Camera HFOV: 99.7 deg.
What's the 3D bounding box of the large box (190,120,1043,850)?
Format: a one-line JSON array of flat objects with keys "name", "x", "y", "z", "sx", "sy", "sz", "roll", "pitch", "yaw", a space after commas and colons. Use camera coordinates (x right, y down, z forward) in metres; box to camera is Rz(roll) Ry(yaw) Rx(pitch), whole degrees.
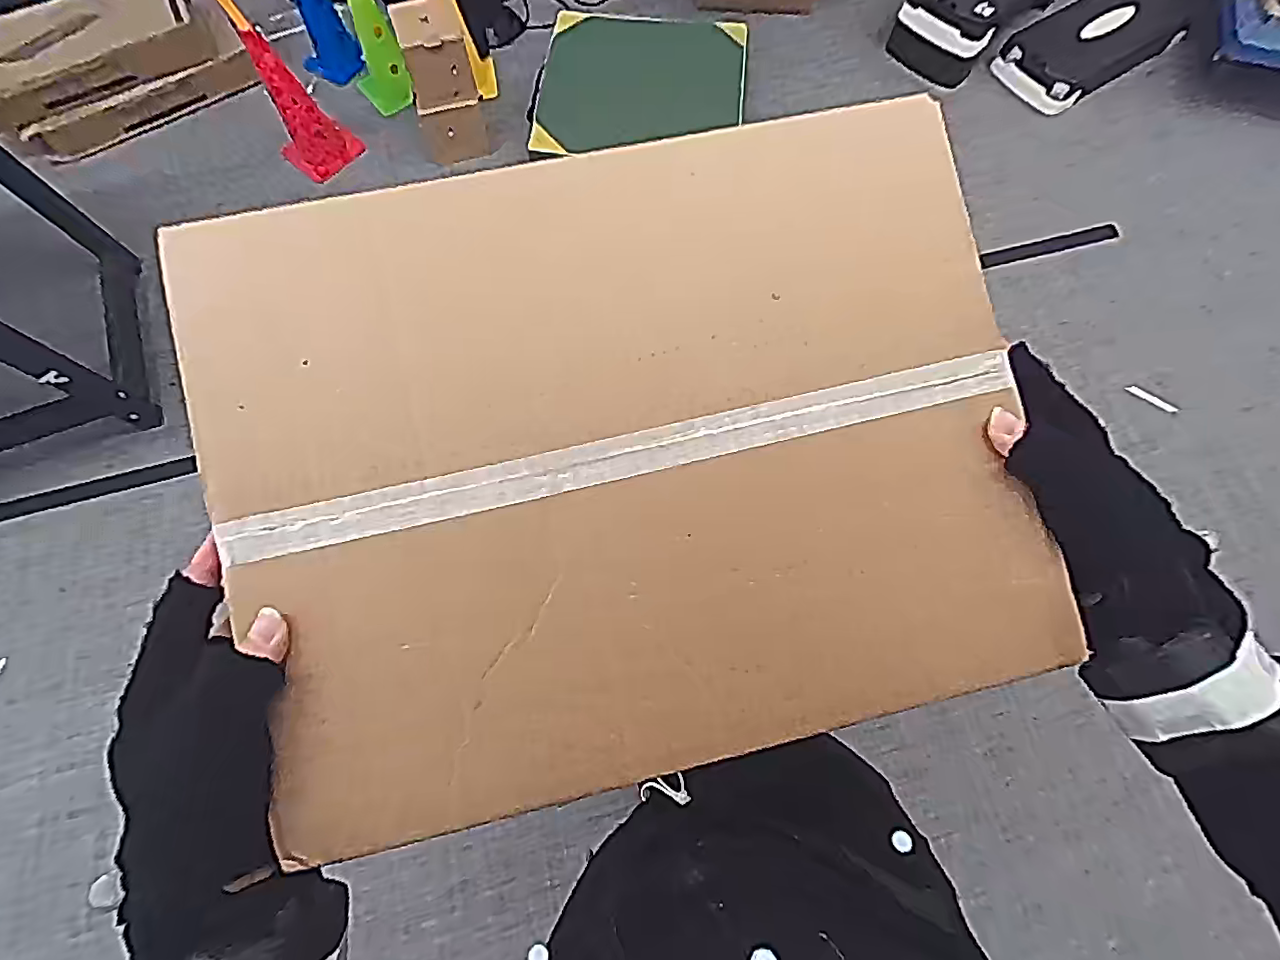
[{"name": "large box", "x": -0.013, "y": -0.004, "z": 0.432, "sx": 0.408, "sy": 0.320, "sz": 0.320, "roll": -13, "pitch": 87, "yaw": -4}]
